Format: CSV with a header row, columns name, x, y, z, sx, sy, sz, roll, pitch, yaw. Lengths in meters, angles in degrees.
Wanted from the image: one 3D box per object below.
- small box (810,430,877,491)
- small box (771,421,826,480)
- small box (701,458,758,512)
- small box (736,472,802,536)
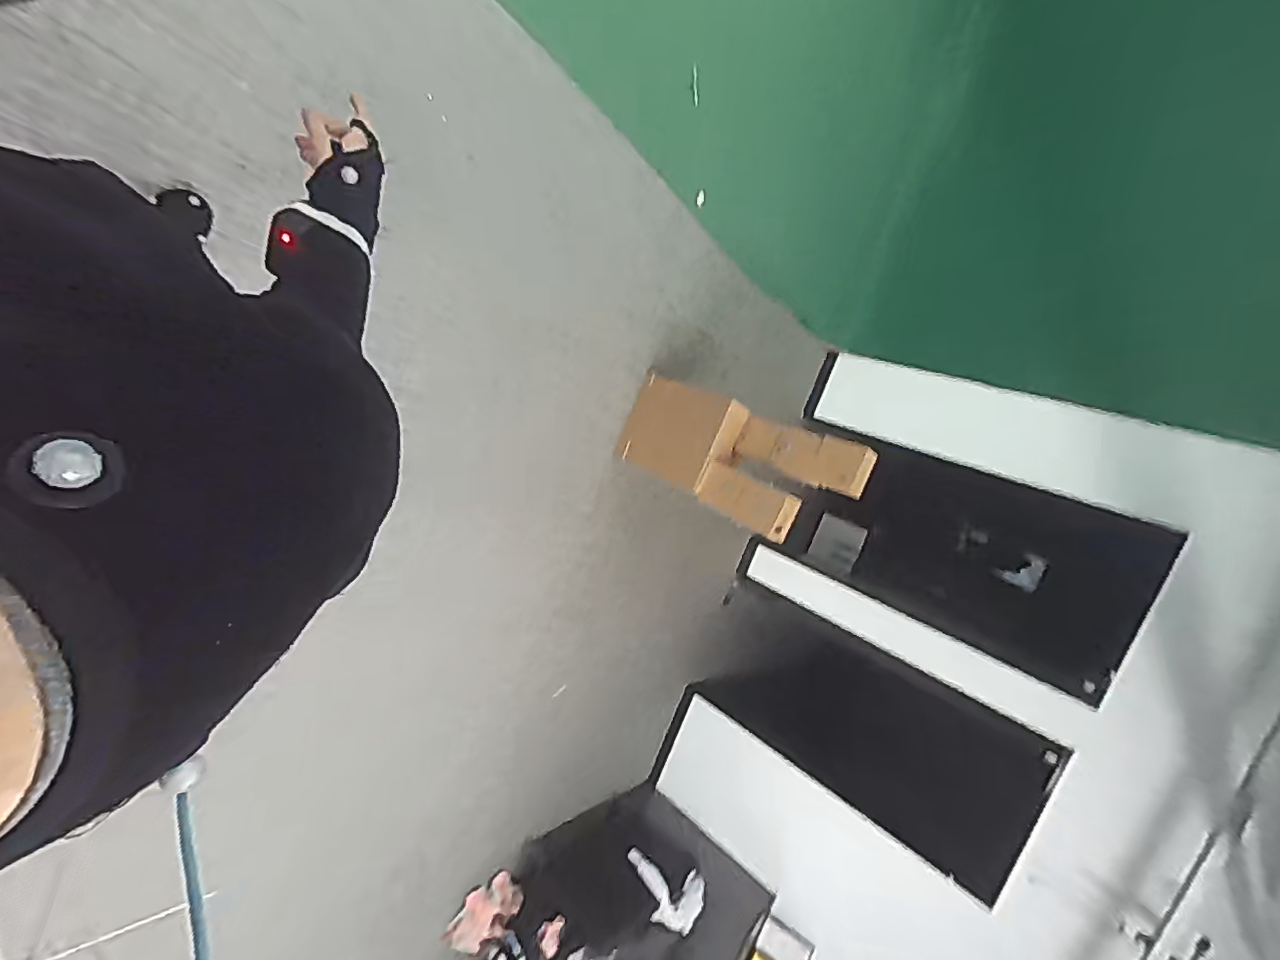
name,x,y,z,sx,sy,sz,roll,pitch,yaw
small box,0.771,-0.077,2.051,0.168,0.176,0.179,15,99,-54
small box,0.648,-0.120,2.150,0.179,0.176,0.168,24,90,-54
small box,0.372,0.028,2.173,0.168,0.176,0.179,20,95,-52
small box,0.489,0.092,2.078,0.168,0.176,0.179,21,94,-54
